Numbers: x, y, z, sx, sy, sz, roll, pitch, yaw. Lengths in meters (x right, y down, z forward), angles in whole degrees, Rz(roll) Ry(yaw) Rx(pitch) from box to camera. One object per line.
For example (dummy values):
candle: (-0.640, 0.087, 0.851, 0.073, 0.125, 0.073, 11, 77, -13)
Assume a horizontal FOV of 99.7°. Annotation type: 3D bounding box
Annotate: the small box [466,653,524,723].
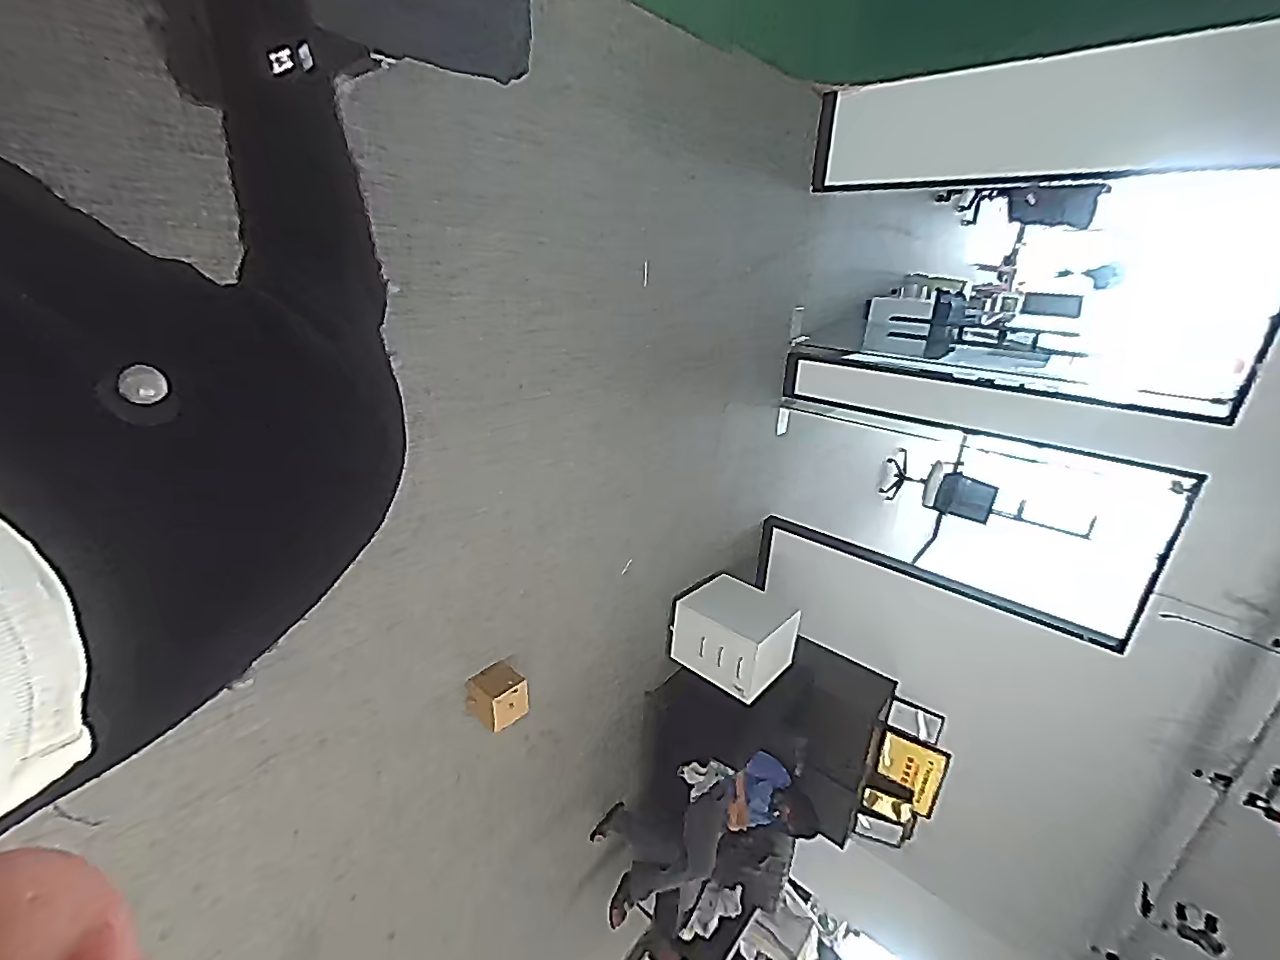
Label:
small box: (-0.596, 0.849, 2.222, 0.168, 0.176, 0.179, -21, 123, -47)
